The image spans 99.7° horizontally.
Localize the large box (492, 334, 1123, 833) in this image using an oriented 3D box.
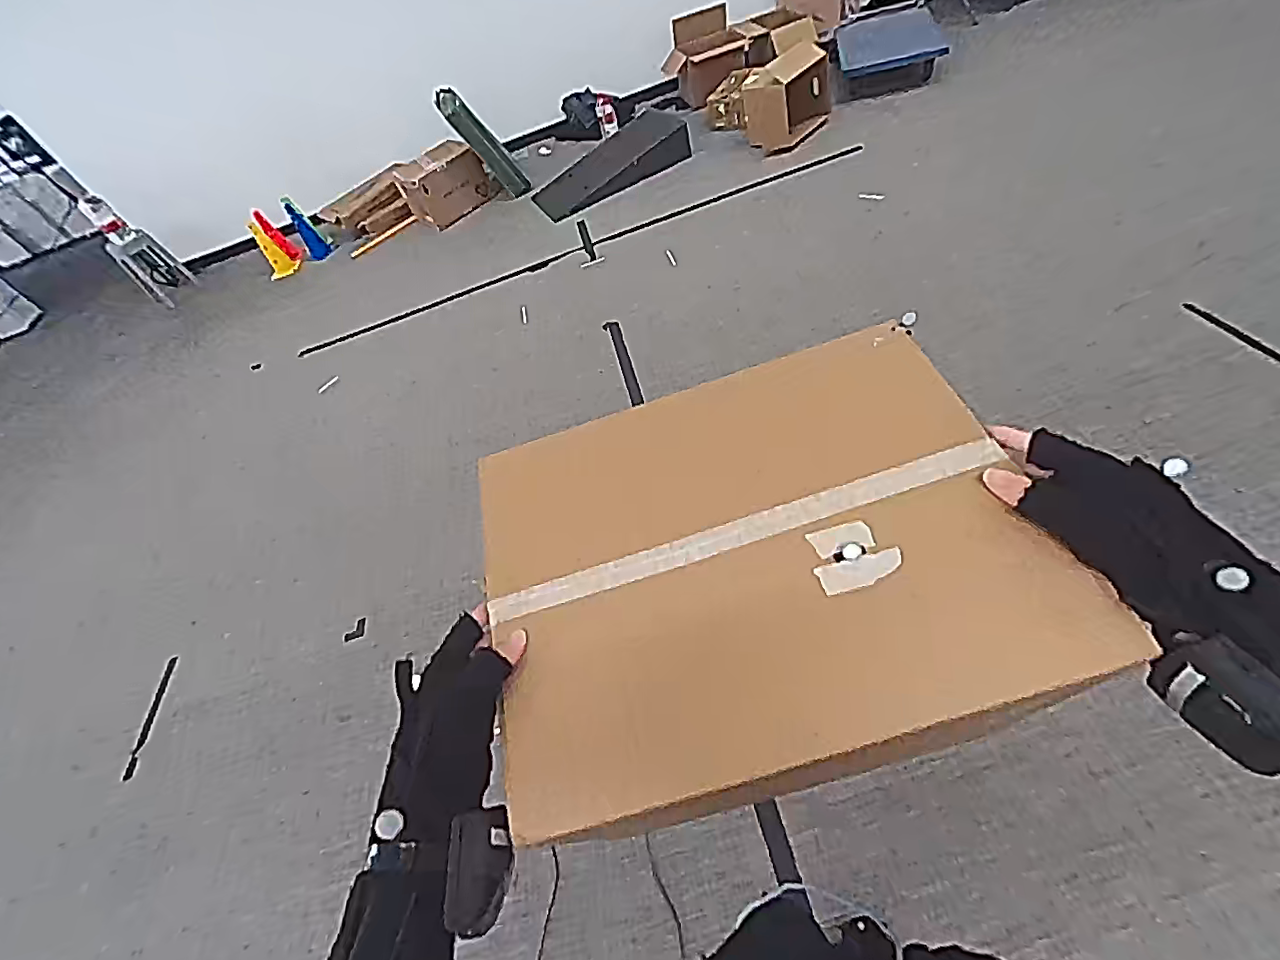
[{"bbox_3d":[0.110,0.124,0.549,0.408,0.320,0.320,-18,56,2],"label":"large box"}]
